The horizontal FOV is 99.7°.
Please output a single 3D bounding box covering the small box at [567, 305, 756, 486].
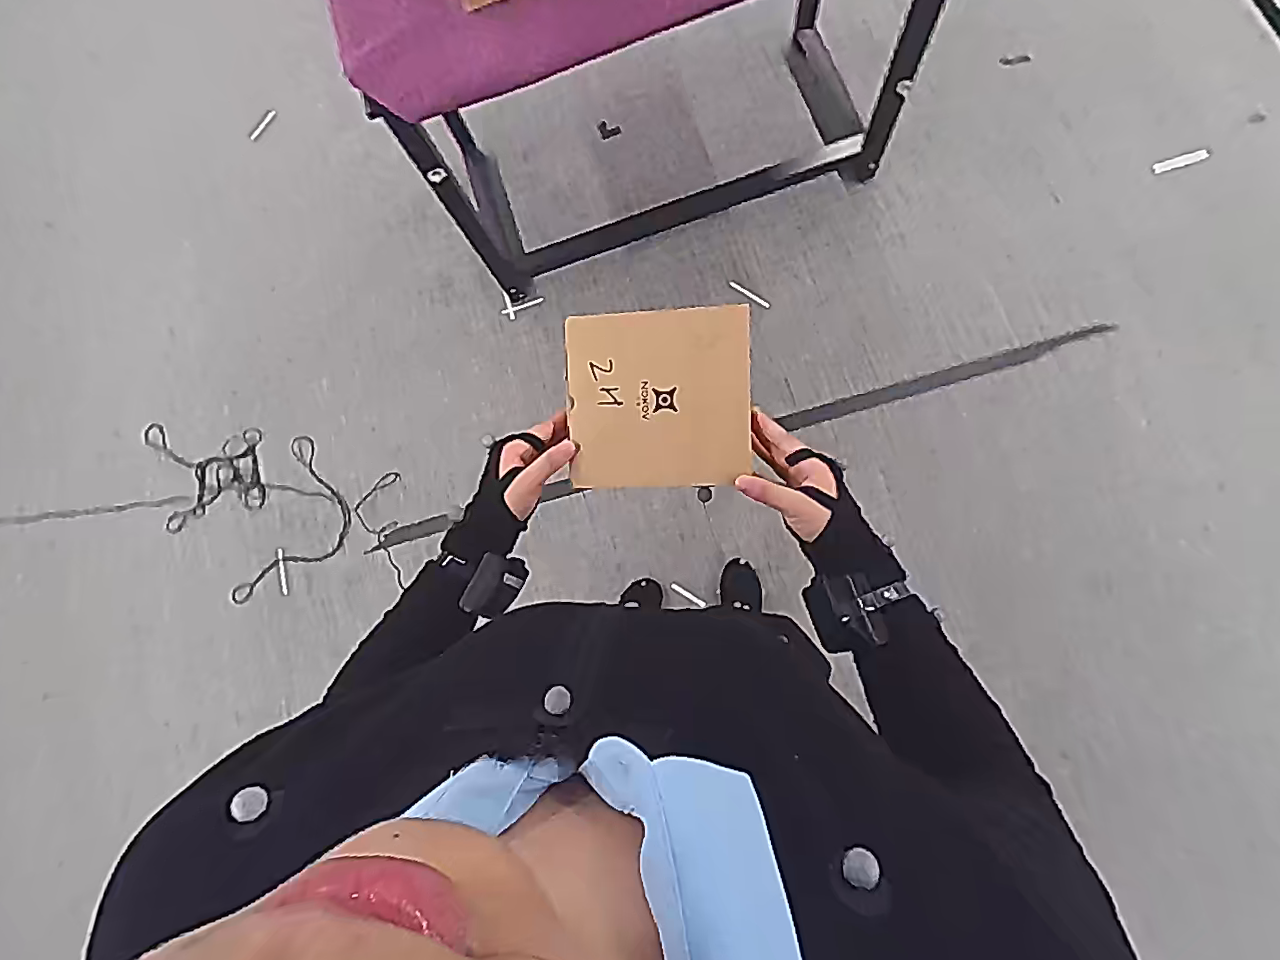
[{"bbox_3d":[0.029,-0.080,0.584,0.179,0.176,0.168,-1,91,9],"label":"small box"}]
